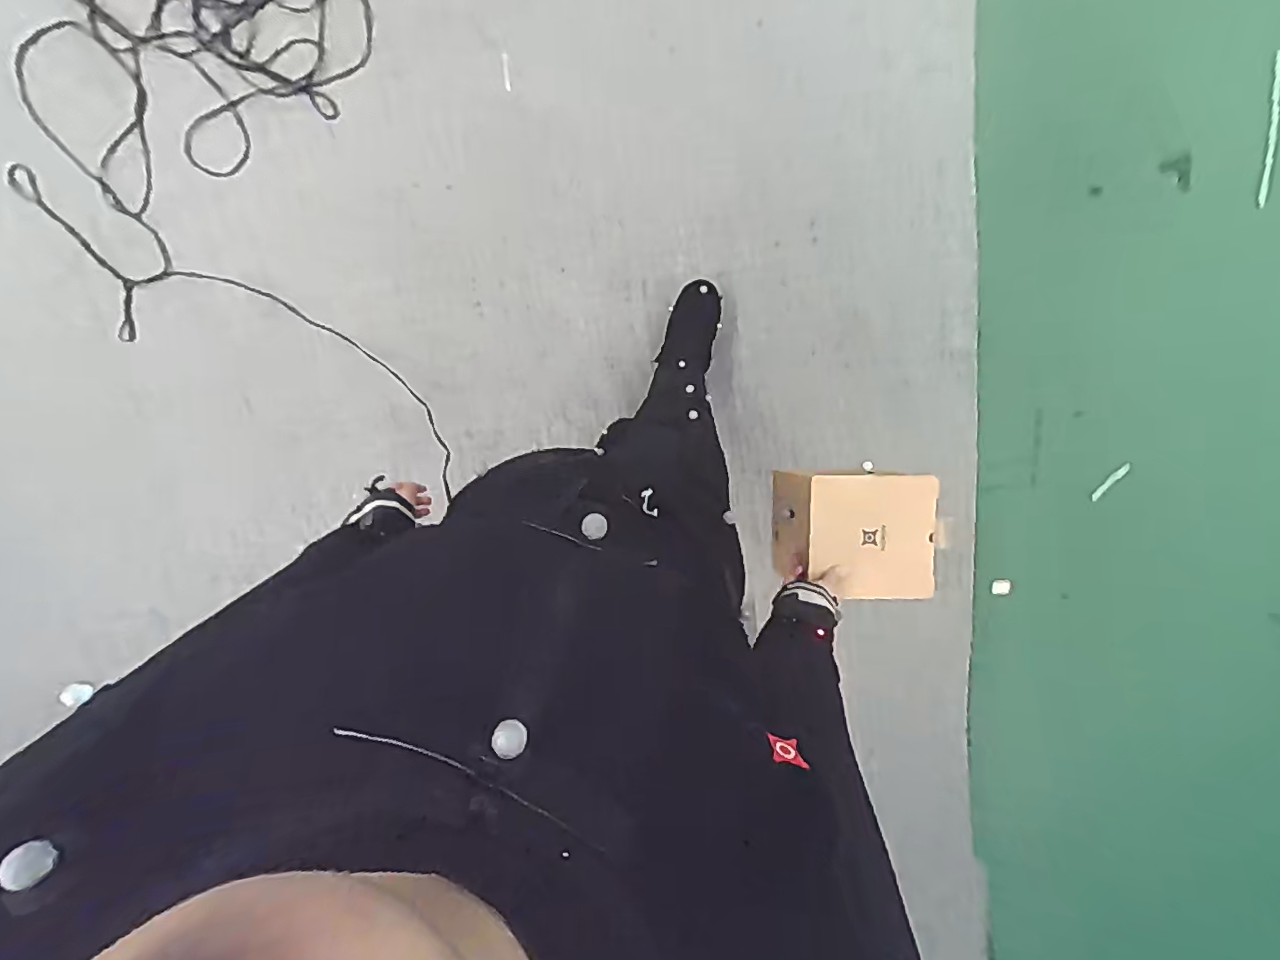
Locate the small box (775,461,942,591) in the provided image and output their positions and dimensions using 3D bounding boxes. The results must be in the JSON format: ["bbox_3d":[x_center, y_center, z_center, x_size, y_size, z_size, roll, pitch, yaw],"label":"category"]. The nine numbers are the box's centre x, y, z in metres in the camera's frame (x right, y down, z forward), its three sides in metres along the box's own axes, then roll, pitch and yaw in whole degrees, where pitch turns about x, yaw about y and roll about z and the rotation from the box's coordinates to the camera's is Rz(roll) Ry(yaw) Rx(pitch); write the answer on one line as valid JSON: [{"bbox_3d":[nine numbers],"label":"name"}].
[{"bbox_3d":[0.300,0.058,0.776,0.179,0.176,0.168,-2,93,-5],"label":"small box"}]
